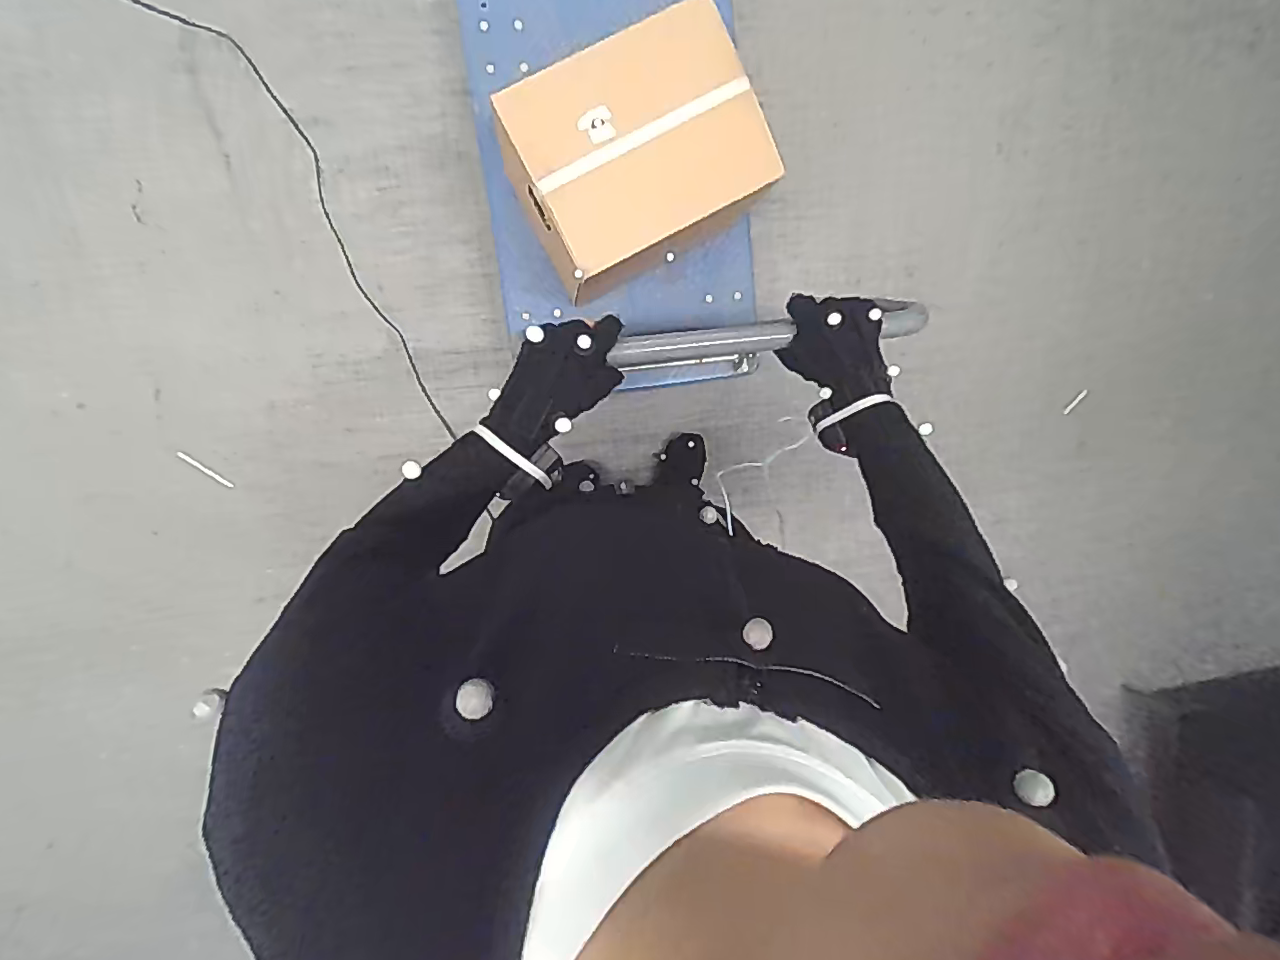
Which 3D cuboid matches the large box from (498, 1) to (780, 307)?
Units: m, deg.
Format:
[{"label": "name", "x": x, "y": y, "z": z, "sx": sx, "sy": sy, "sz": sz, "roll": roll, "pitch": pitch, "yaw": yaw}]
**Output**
[{"label": "large box", "x": -0.011, "y": -0.589, "z": 1.059, "sx": 0.408, "sy": 0.320, "sz": 0.320, "roll": -29, "pitch": 101, "yaw": -2}]
